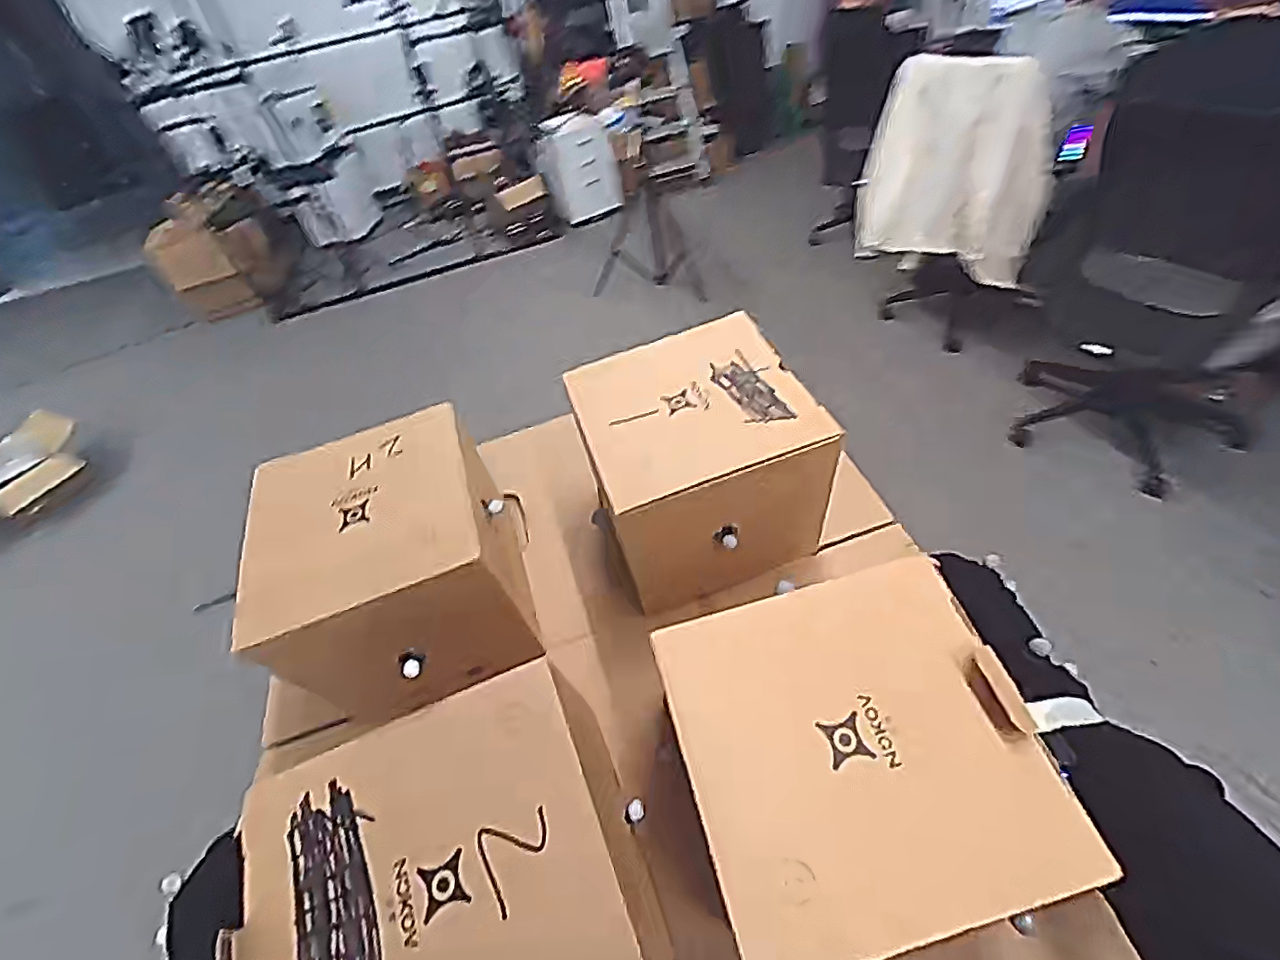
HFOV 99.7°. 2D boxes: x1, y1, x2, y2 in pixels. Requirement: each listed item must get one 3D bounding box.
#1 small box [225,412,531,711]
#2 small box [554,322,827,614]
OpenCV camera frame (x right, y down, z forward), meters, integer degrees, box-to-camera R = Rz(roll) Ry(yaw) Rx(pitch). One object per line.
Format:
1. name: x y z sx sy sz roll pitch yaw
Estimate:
1. small box: -0.207 0.078 0.467 0.168 0.176 0.179 -20 51 -7
2. small box: 0.041 -0.007 0.490 0.179 0.176 0.168 -20 51 -5
